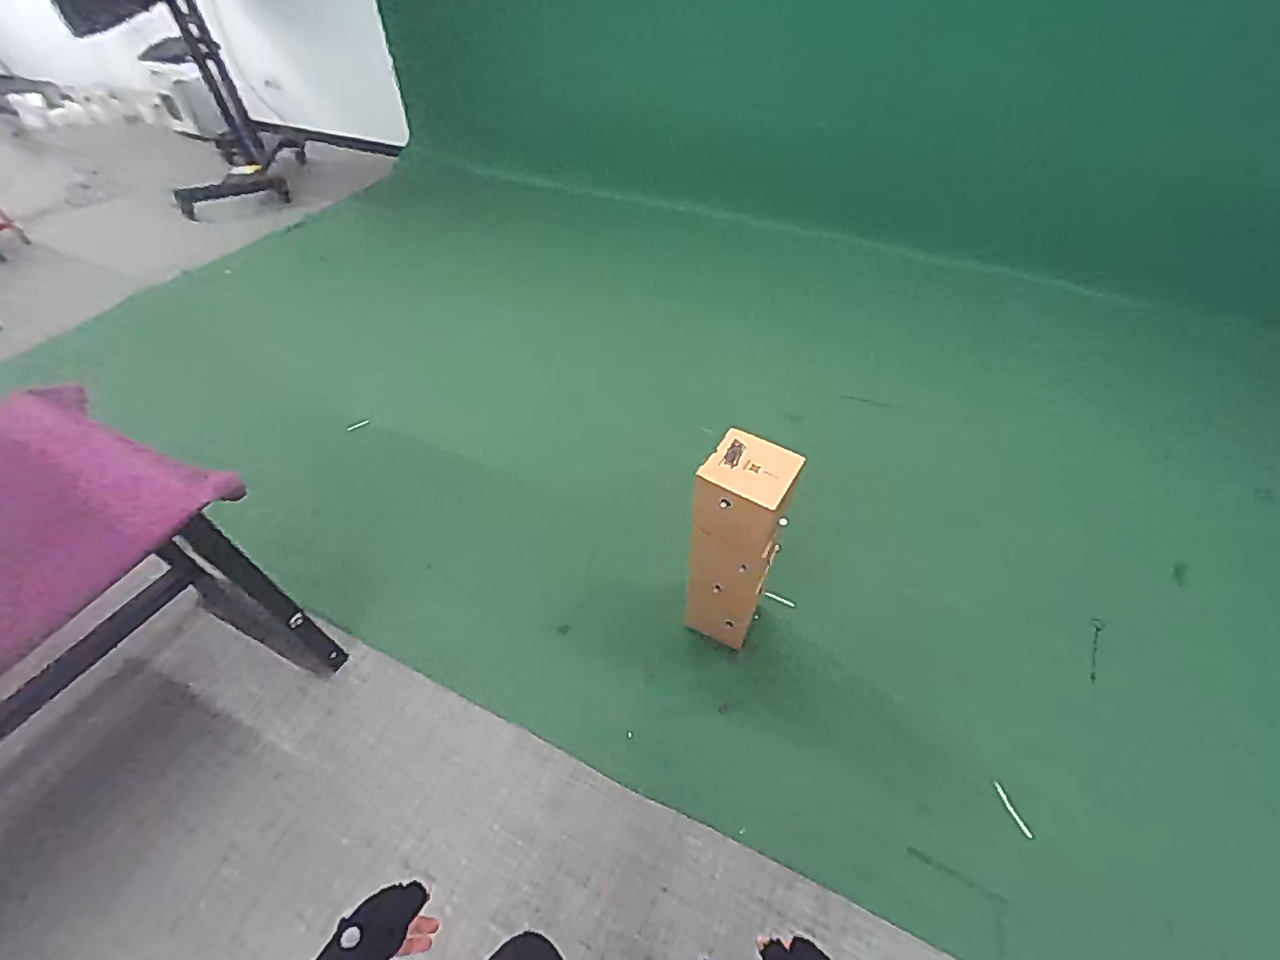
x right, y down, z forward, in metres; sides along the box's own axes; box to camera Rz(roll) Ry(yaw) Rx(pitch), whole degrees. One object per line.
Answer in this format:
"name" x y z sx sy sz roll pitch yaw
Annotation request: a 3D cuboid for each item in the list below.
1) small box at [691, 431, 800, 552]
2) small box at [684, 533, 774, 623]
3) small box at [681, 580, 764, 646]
"small box" 0.222 0.028 1.172 0.179 0.176 0.168 23 53 20
"small box" 0.229 0.249 1.416 0.179 0.176 0.168 22 53 18
"small box" 0.230 0.350 1.543 0.179 0.176 0.168 22 52 17
